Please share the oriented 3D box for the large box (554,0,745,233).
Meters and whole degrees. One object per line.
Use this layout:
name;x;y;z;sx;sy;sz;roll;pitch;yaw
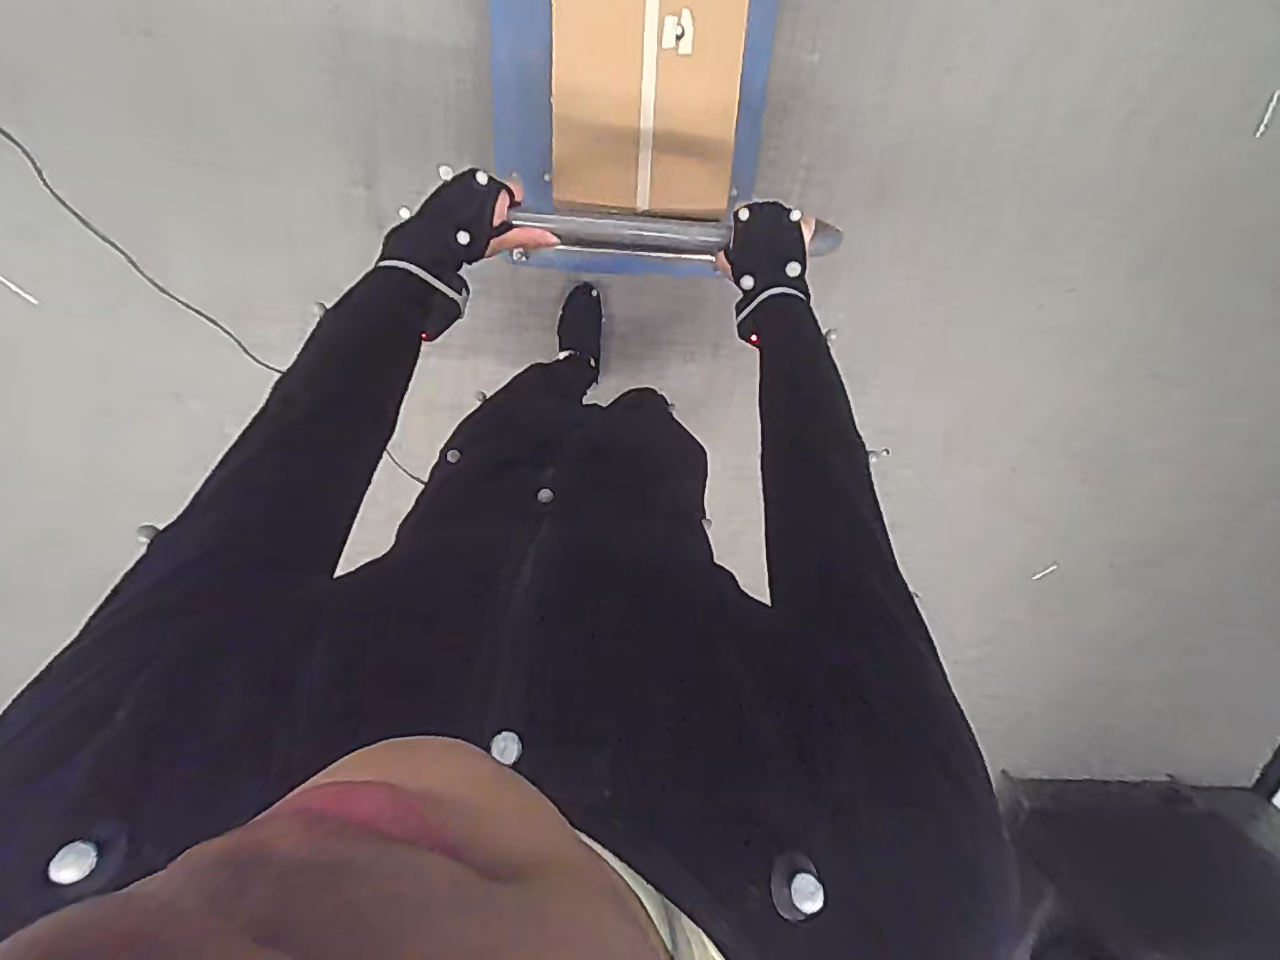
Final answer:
large box;0.004;-0.713;1.050;0.320;0.320;0.408;2;111;-5
